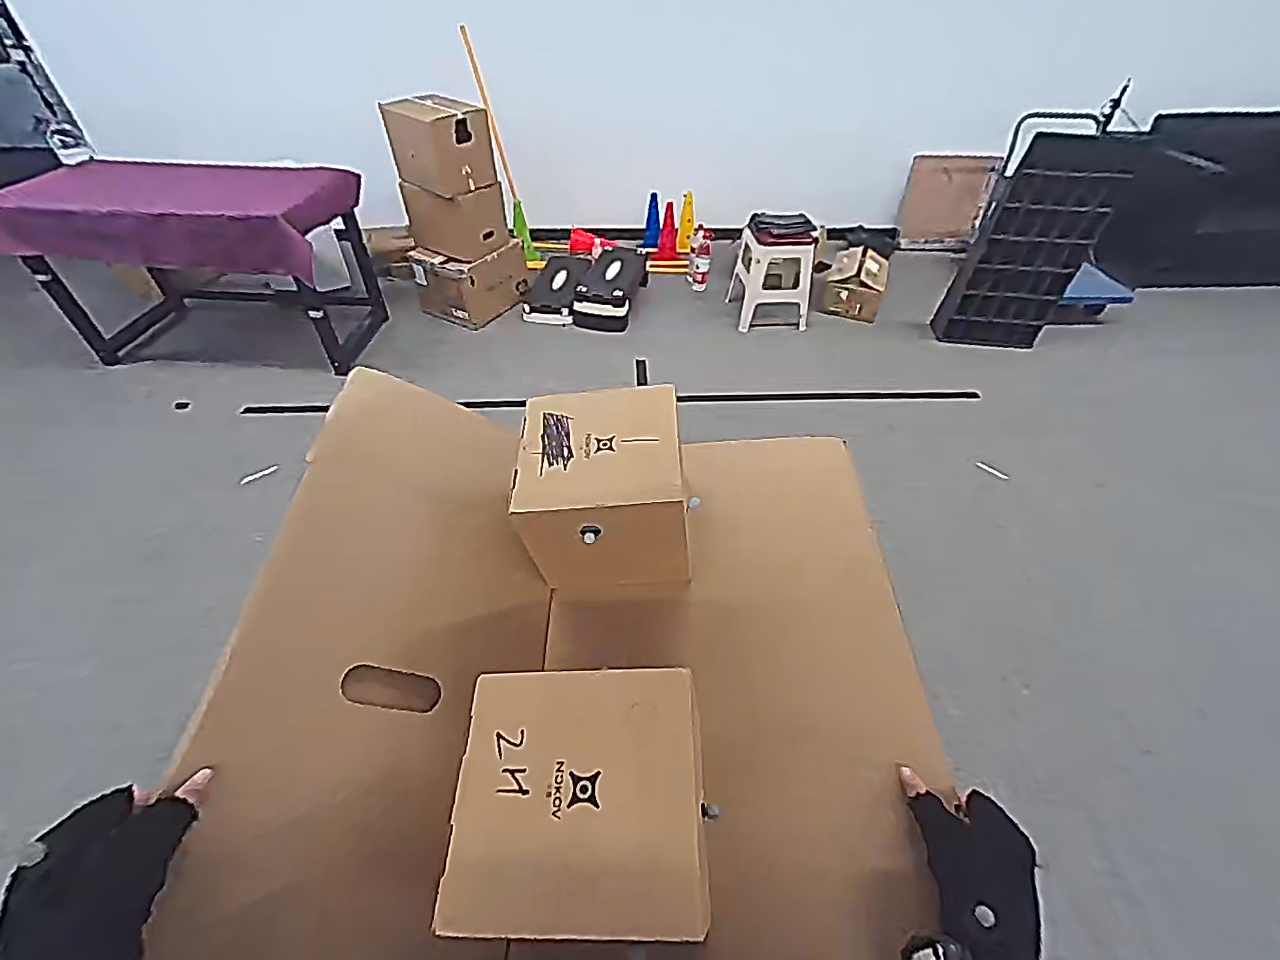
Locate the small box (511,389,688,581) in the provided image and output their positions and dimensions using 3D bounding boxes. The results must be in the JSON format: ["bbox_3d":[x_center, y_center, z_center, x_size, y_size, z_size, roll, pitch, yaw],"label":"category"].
[{"bbox_3d":[-0.037,0.013,0.657,0.179,0.176,0.168,-4,53,5],"label":"small box"}]

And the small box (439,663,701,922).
[{"bbox_3d":[-0.038,0.265,0.464,0.179,0.176,0.168,-3,53,7],"label":"small box"}]
